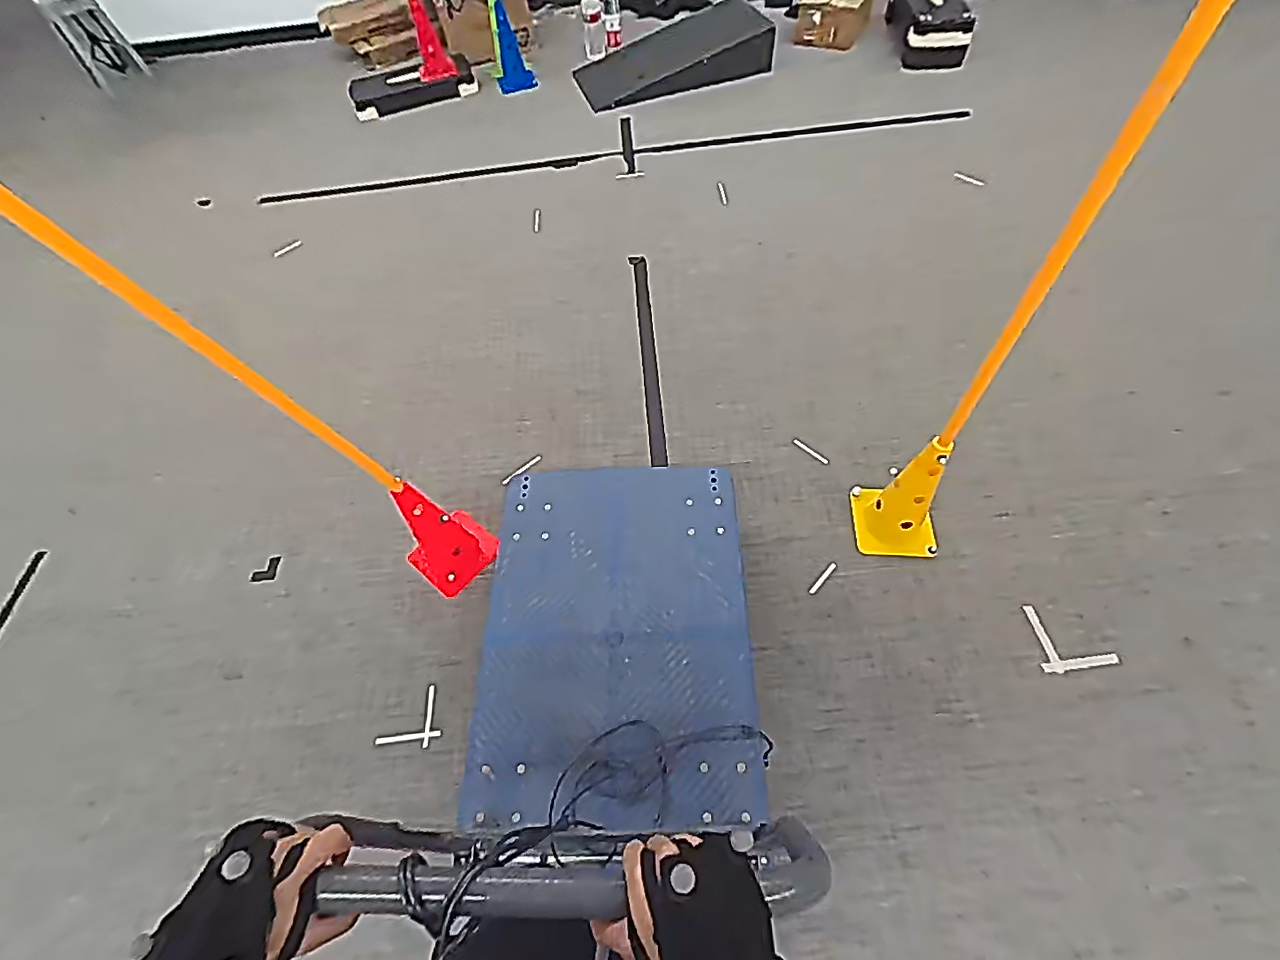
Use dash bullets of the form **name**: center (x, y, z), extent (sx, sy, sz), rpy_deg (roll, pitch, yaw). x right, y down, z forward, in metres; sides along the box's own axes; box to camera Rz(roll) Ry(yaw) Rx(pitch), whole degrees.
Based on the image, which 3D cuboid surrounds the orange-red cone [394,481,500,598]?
- **orange-red cone**: center (-0.517, 0.112, 1.340), extent (0.198, 0.360, 0.199), rpy_deg (35, 65, 23)
